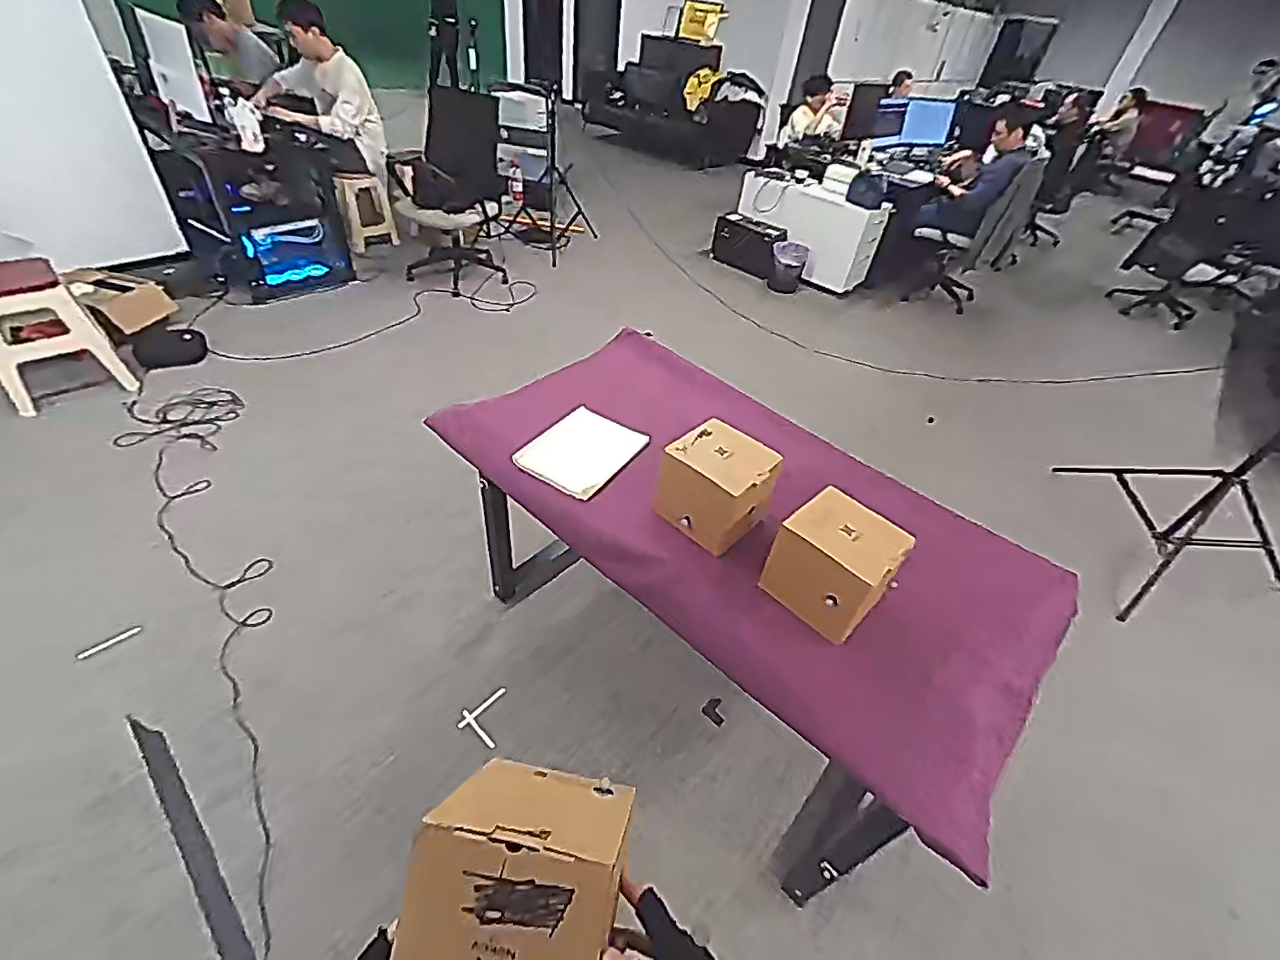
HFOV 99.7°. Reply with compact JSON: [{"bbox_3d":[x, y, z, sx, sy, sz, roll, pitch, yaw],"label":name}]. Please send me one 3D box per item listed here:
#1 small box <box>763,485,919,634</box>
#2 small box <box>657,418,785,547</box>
[{"bbox_3d":[0.349,0.146,0.961,0.168,0.176,0.179,-29,51,-36],"label":"small box"},{"bbox_3d":[0.155,0.011,1.082,0.179,0.176,0.168,35,48,27],"label":"small box"}]
